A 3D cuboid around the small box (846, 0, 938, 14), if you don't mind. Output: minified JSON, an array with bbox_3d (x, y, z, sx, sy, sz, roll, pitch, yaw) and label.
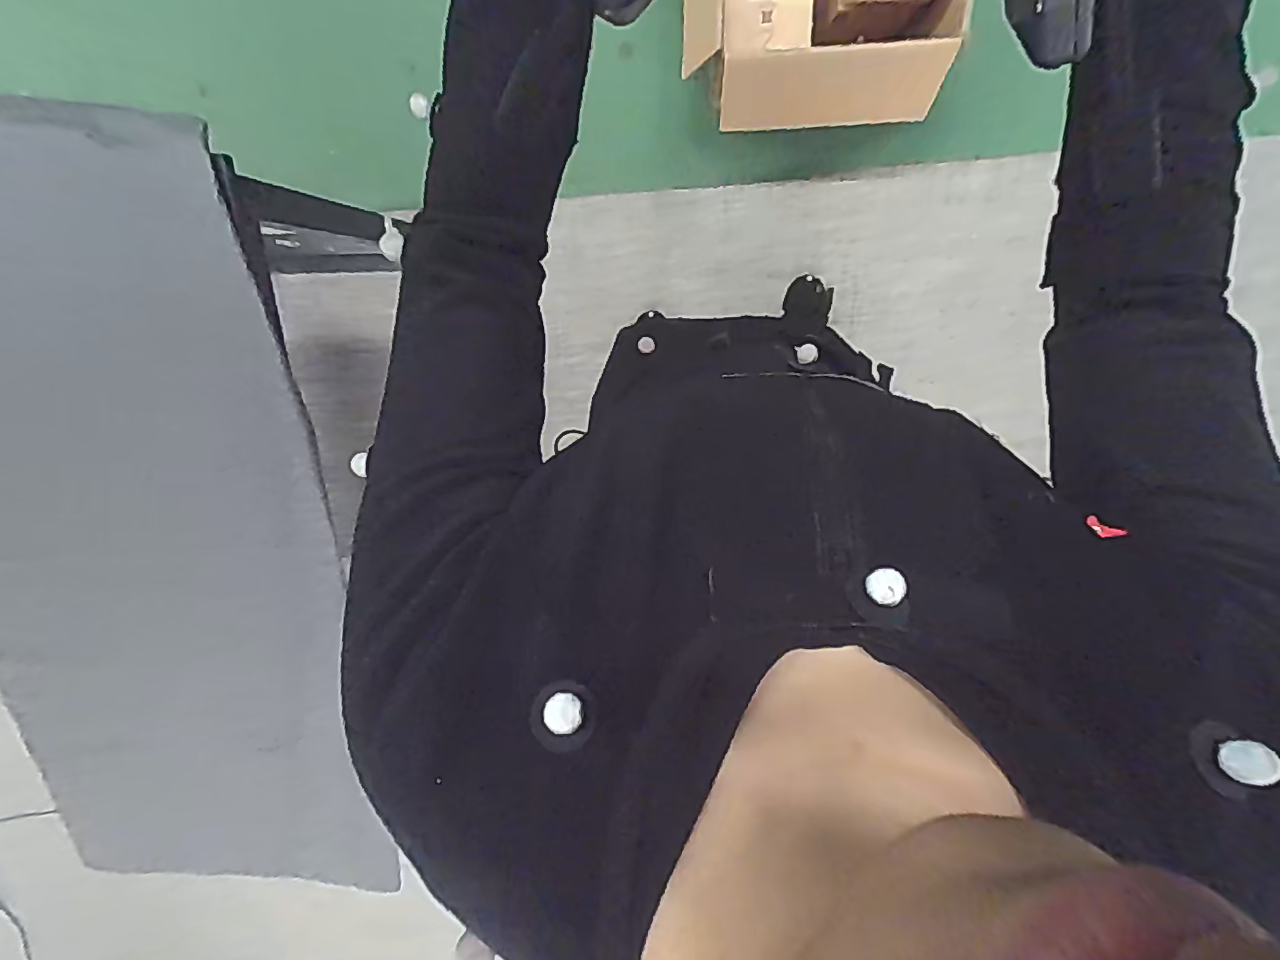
[{"bbox_3d":[0.449,-0.911,0.892,0.168,0.176,0.179,1,108,1],"label":"small box"}]
